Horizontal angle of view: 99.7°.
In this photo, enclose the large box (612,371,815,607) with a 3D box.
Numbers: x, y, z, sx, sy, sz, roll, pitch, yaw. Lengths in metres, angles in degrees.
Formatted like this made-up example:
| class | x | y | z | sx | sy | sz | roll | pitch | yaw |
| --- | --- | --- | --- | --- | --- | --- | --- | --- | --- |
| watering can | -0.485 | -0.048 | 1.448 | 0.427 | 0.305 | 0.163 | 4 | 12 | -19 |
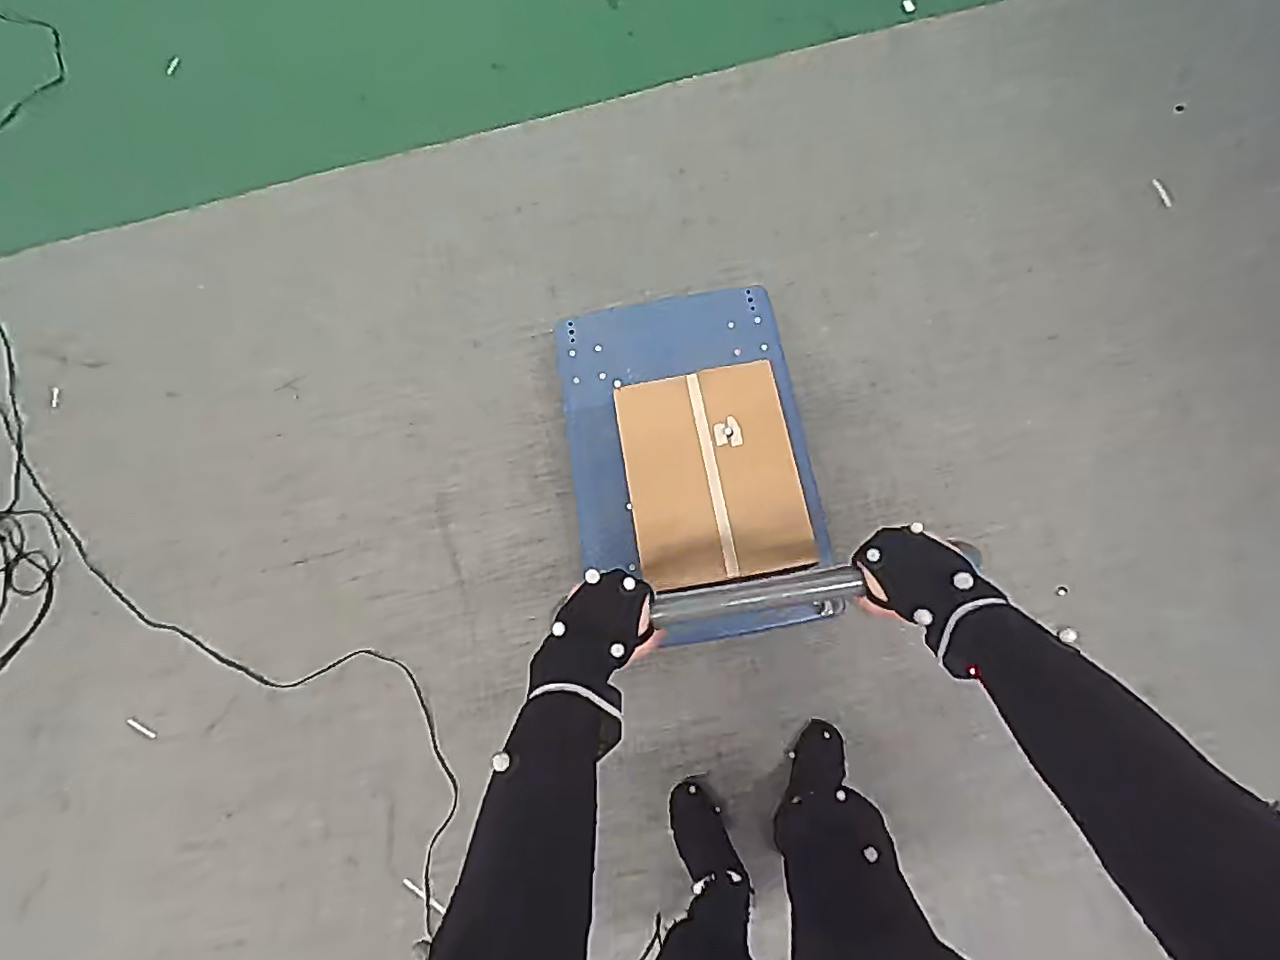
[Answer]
| class | x | y | z | sx | sy | sz | roll | pitch | yaw |
| --- | --- | --- | --- | --- | --- | --- | --- | --- | --- |
| large box | 0.142 | 0.038 | 1.162 | 0.320 | 0.320 | 0.408 | -10 | 73 | 1 |
